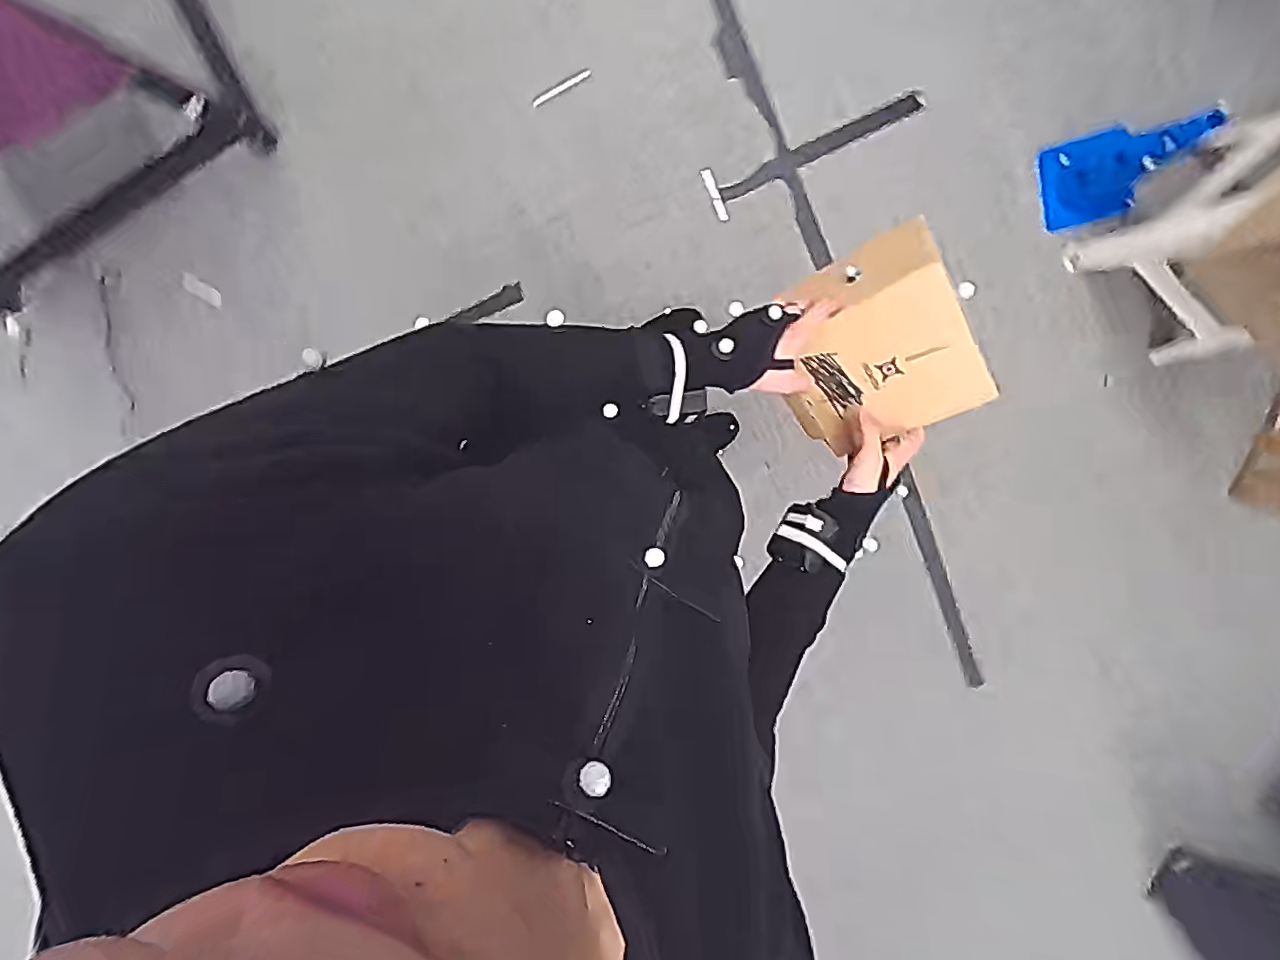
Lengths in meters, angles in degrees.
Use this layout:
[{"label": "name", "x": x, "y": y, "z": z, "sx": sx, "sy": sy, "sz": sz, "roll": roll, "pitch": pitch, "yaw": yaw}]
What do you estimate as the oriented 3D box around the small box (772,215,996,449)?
[{"label": "small box", "x": 0.277, "y": -0.170, "z": 0.629, "sx": 0.179, "sy": 0.176, "sz": 0.168, "roll": -24, "pitch": 118, "yaw": 34}]
